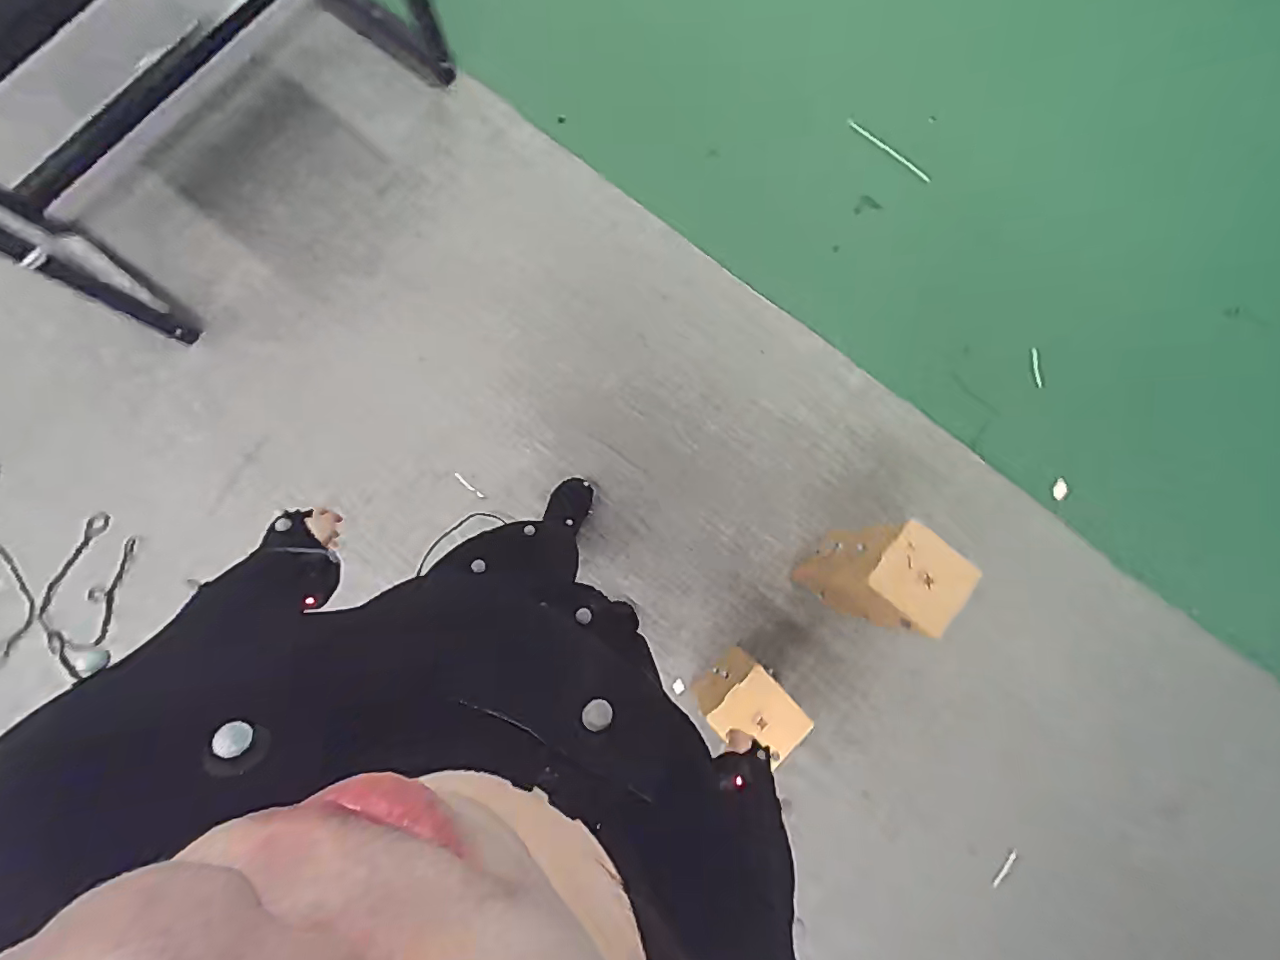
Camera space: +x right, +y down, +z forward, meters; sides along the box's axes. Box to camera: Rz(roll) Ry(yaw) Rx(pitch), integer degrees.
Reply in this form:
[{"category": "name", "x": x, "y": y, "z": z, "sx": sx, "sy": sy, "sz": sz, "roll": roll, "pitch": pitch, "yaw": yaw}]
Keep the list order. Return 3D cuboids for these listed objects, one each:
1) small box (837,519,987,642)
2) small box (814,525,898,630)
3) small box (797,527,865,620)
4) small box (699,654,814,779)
[{"category": "small box", "x": 0.545, "y": 0.200, "z": 1.105, "sx": 0.179, "sy": 0.176, "sz": 0.168, "roll": 41, "pitch": 82, "yaw": 4}, {"category": "small box", "x": 0.545, "y": 0.224, "z": 1.268, "sx": 0.179, "sy": 0.176, "sz": 0.168, "roll": 40, "pitch": 82, "yaw": 6}, {"category": "small box", "x": 0.546, "y": 0.246, "z": 1.429, "sx": 0.179, "sy": 0.176, "sz": 0.168, "roll": 43, "pitch": 83, "yaw": 6}, {"category": "small box", "x": 0.253, "y": 0.520, "z": 1.220, "sx": 0.168, "sy": 0.176, "sz": 0.179, "roll": -42, "pitch": 84, "yaw": -6}]
